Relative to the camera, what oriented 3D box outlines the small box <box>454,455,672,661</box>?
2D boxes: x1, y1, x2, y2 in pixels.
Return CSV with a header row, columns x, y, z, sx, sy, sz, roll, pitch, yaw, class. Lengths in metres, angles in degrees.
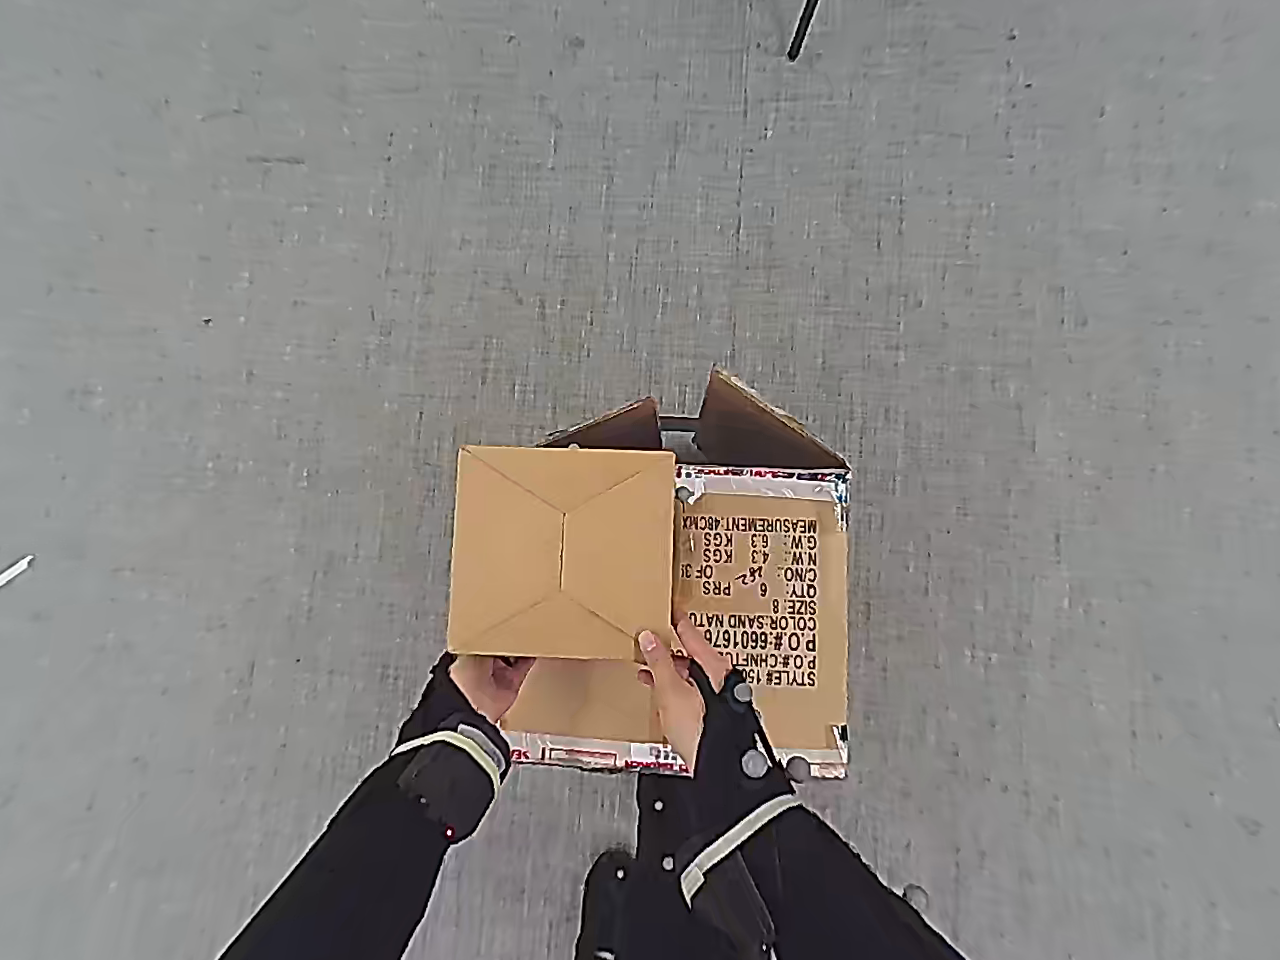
x,y,z,sx,sy,sz,roll,pitch,yaw,class
-0.058,0.068,0.513,0.179,0.176,0.168,2,86,1,small box
